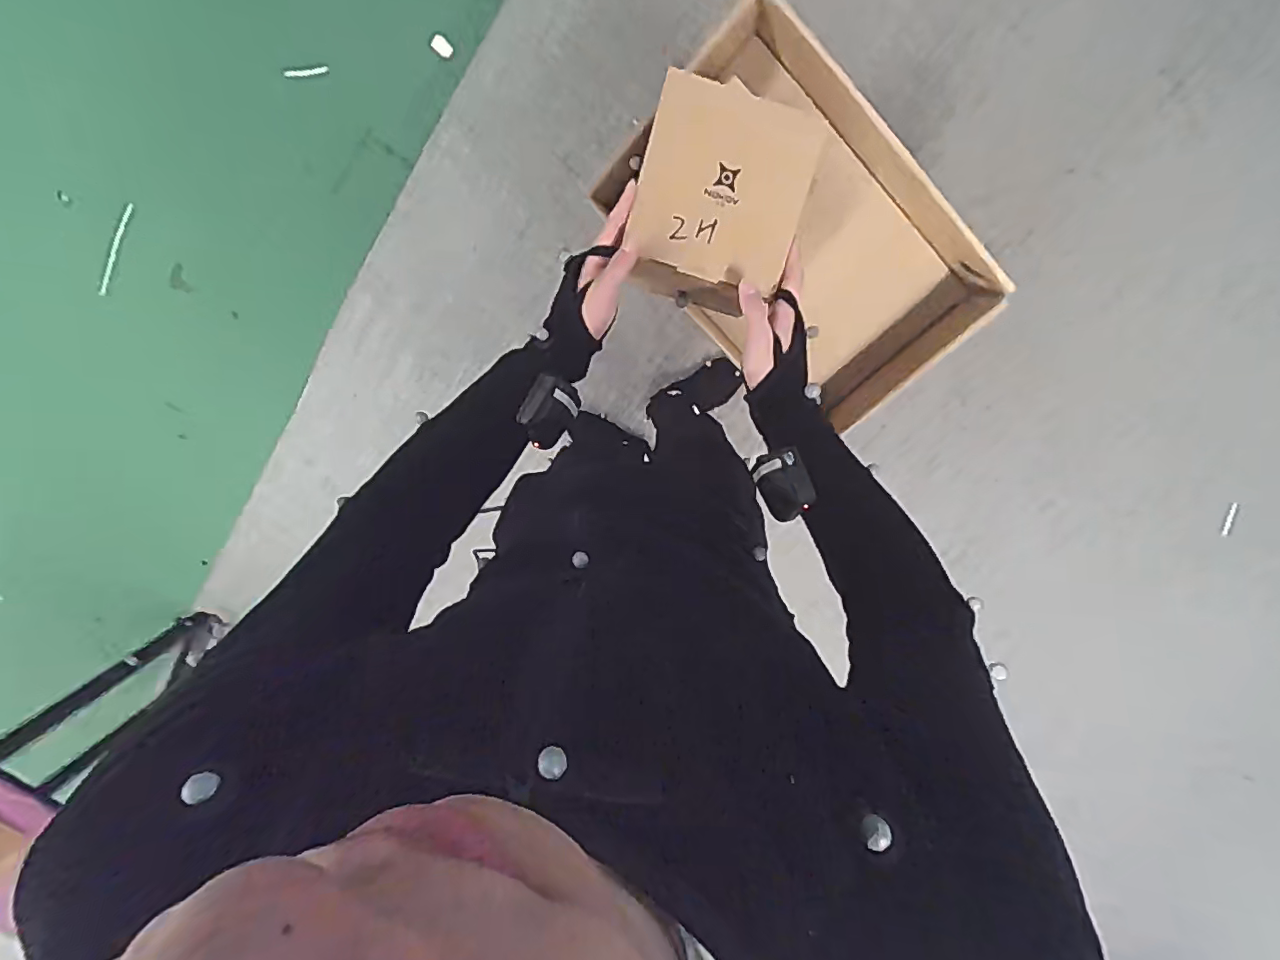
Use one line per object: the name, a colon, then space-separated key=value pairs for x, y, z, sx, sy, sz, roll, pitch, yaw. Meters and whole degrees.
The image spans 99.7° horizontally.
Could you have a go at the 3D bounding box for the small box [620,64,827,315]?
small box: x=0.076 y=-0.298 z=0.600 sx=0.168 sy=0.176 sz=0.179 roll=15 pitch=100 yaw=-5
